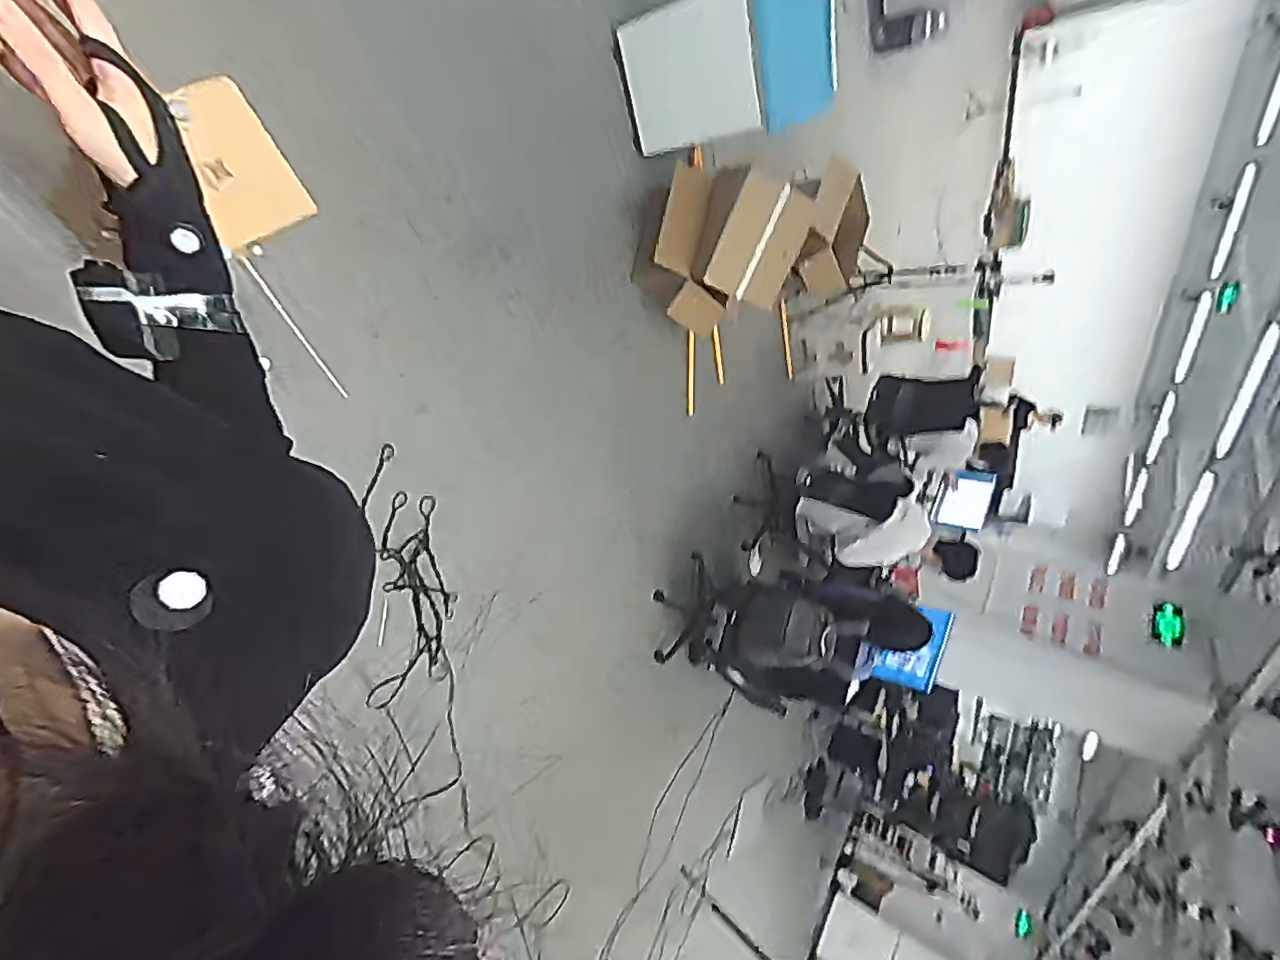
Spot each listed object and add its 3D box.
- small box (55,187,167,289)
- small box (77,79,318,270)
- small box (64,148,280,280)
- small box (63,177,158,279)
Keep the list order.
[{"bbox_3d":[-0.957,-0.486,1.039,0.168,0.176,0.179,-49,135,-32],"label":"small box"},{"bbox_3d":[-0.589,-0.400,0.725,0.179,0.176,0.168,-49,134,-30],"label":"small box"},{"bbox_3d":[-0.712,-0.425,0.829,0.168,0.176,0.179,-50,135,-31],"label":"small box"},{"bbox_3d":[-0.832,-0.466,0.934,0.168,0.176,0.179,-48,133,-31],"label":"small box"}]
